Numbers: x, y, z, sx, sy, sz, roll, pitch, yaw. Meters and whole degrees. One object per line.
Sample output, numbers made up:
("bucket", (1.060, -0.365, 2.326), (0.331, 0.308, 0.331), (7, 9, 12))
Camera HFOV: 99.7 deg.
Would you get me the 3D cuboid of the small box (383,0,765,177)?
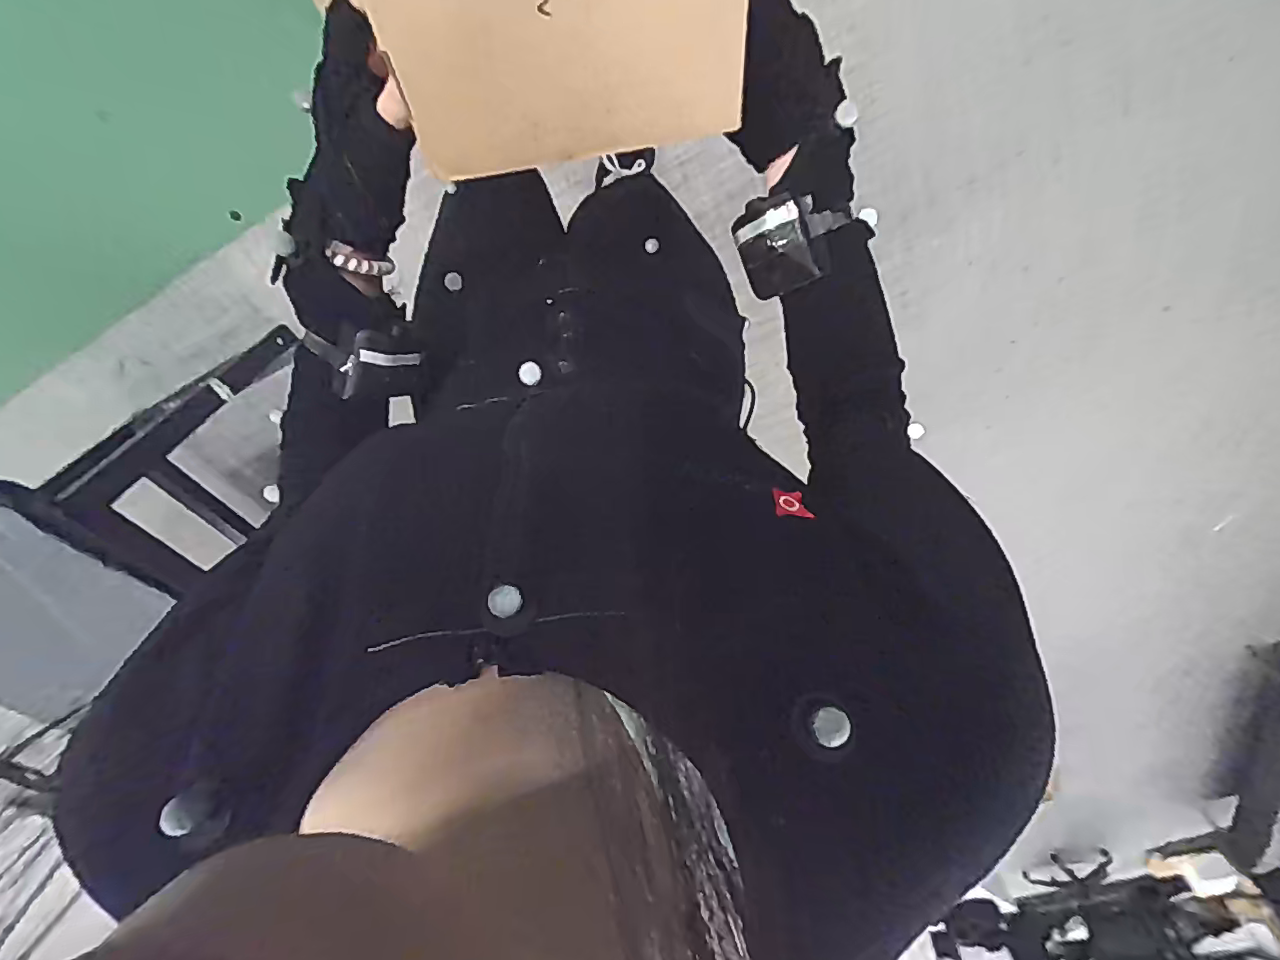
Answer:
("small box", (-0.042, -0.293, 0.278), (0.179, 0.176, 0.168), (-11, 145, -1))
